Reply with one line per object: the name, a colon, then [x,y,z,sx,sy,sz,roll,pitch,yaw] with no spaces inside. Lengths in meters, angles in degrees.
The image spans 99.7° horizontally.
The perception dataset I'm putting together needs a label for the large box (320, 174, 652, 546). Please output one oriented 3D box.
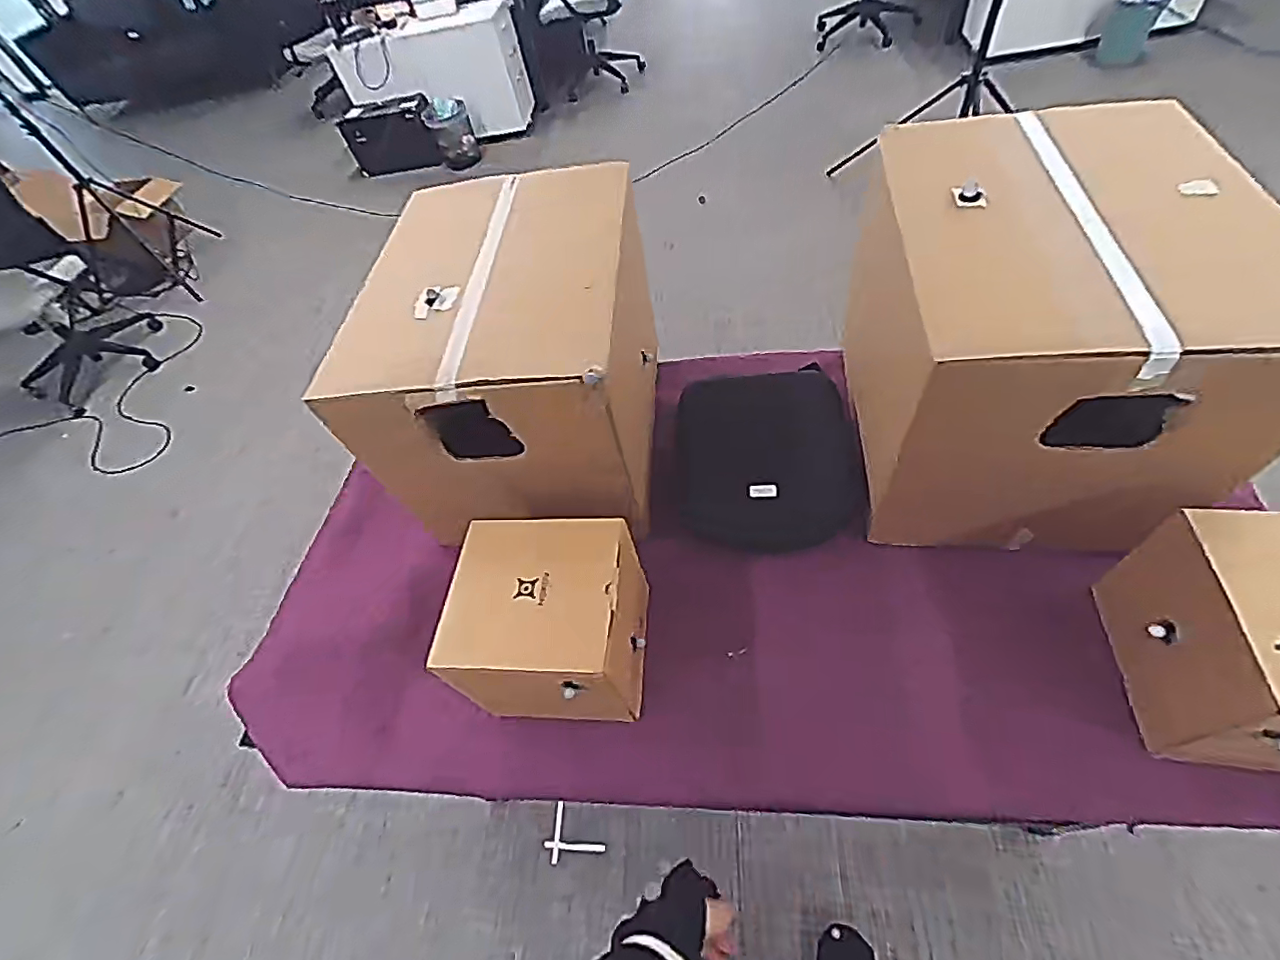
large box: [-0.151,-0.156,0.757,0.320,0.320,0.408,-4,56,9]
